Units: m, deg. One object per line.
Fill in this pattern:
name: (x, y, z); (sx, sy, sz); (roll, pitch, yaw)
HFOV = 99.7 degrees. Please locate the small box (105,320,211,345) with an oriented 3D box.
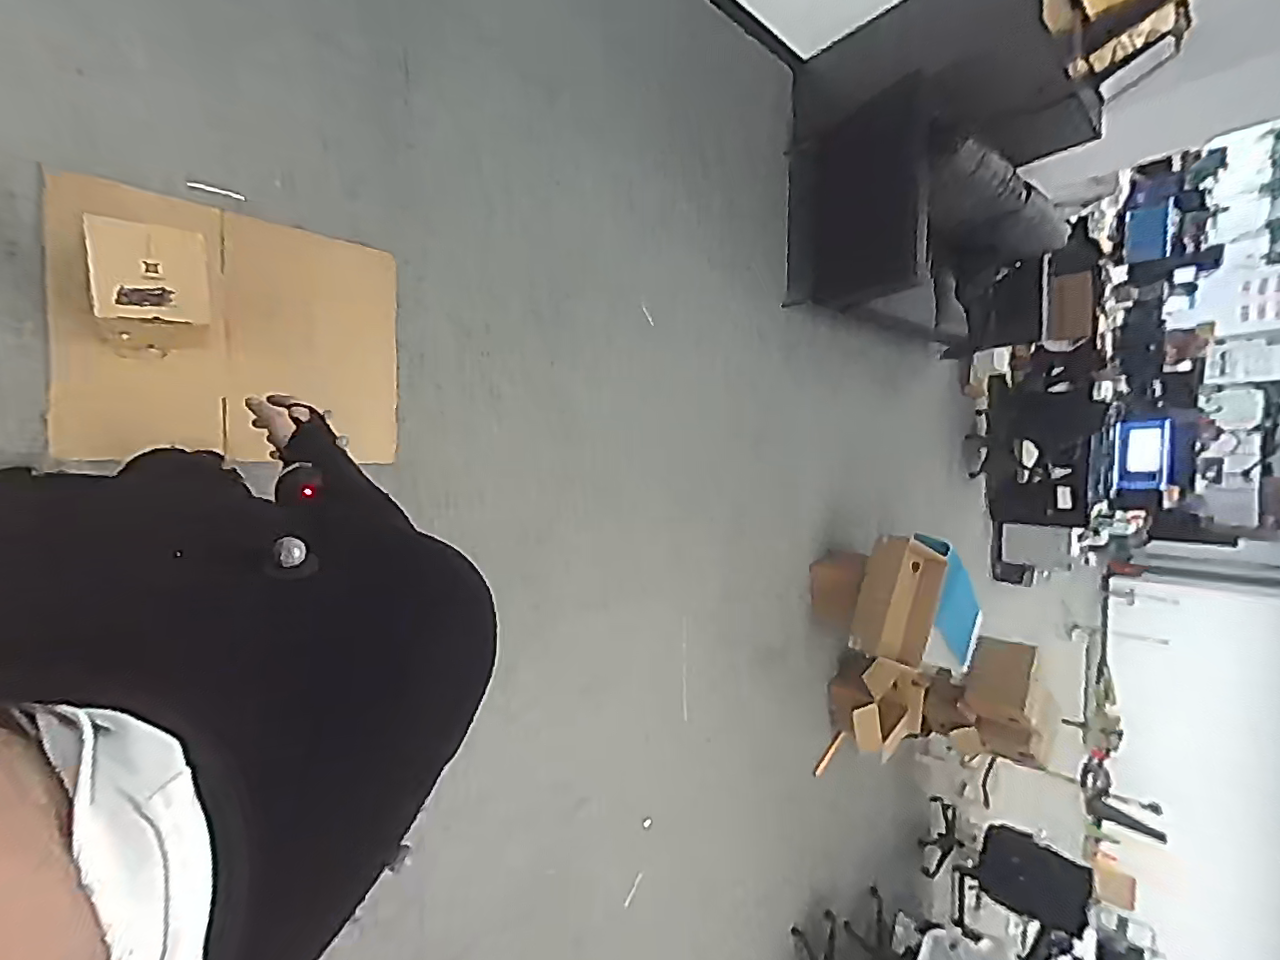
small box: (-1.043, -0.393, 1.160); (0.168, 0.176, 0.179); (-10, 99, -41)

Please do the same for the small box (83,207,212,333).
small box: (-0.934, -0.388, 1.037); (0.168, 0.176, 0.179); (-6, 95, -41)
